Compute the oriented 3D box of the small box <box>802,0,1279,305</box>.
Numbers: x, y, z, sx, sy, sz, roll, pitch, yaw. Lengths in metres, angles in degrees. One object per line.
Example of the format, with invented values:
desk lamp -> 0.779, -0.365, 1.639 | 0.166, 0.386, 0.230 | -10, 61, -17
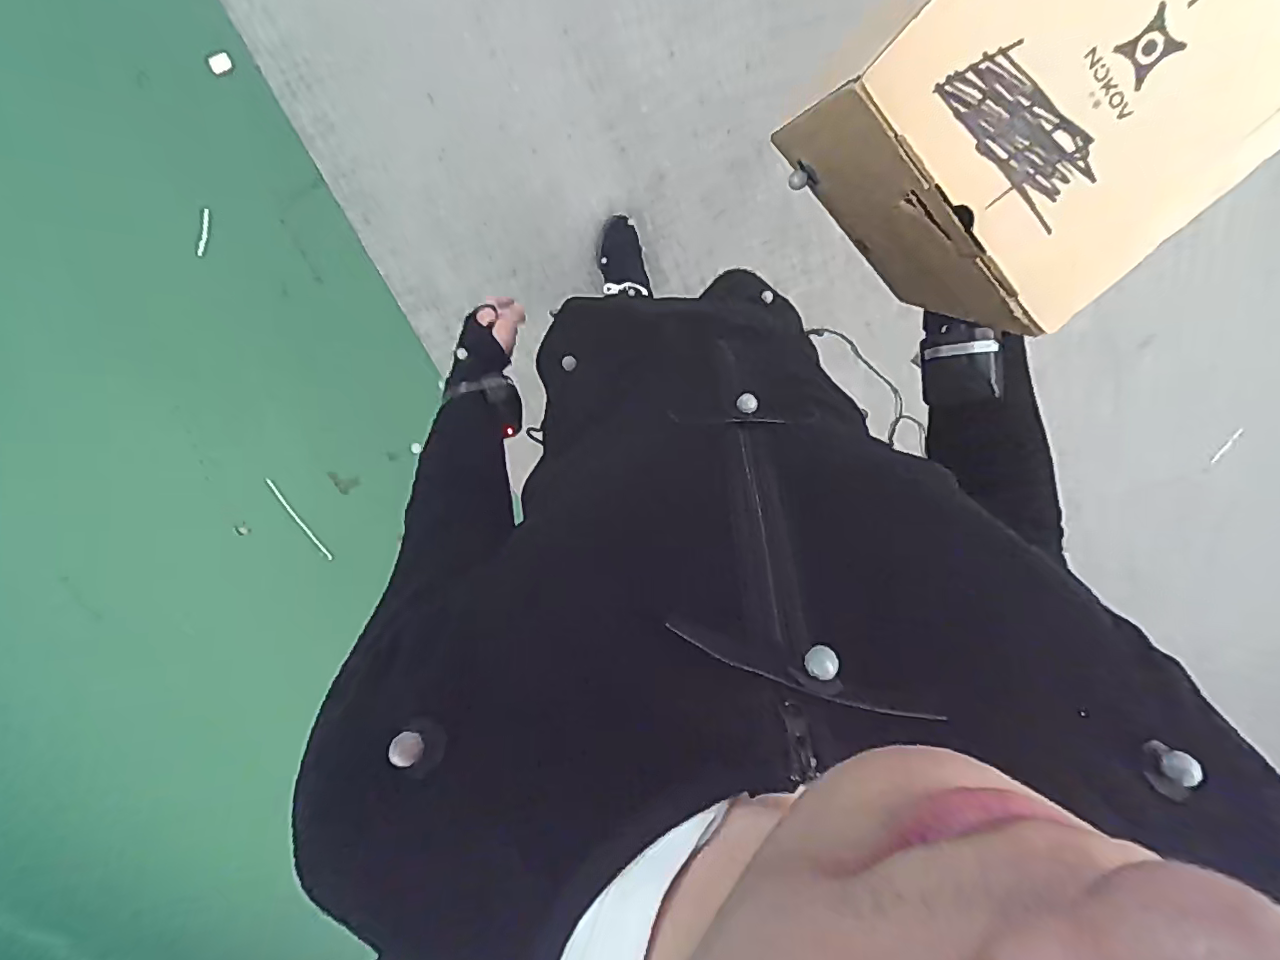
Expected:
small box -> 0.215, -0.228, 0.308 | 0.168, 0.176, 0.179 | 41, 107, -17
